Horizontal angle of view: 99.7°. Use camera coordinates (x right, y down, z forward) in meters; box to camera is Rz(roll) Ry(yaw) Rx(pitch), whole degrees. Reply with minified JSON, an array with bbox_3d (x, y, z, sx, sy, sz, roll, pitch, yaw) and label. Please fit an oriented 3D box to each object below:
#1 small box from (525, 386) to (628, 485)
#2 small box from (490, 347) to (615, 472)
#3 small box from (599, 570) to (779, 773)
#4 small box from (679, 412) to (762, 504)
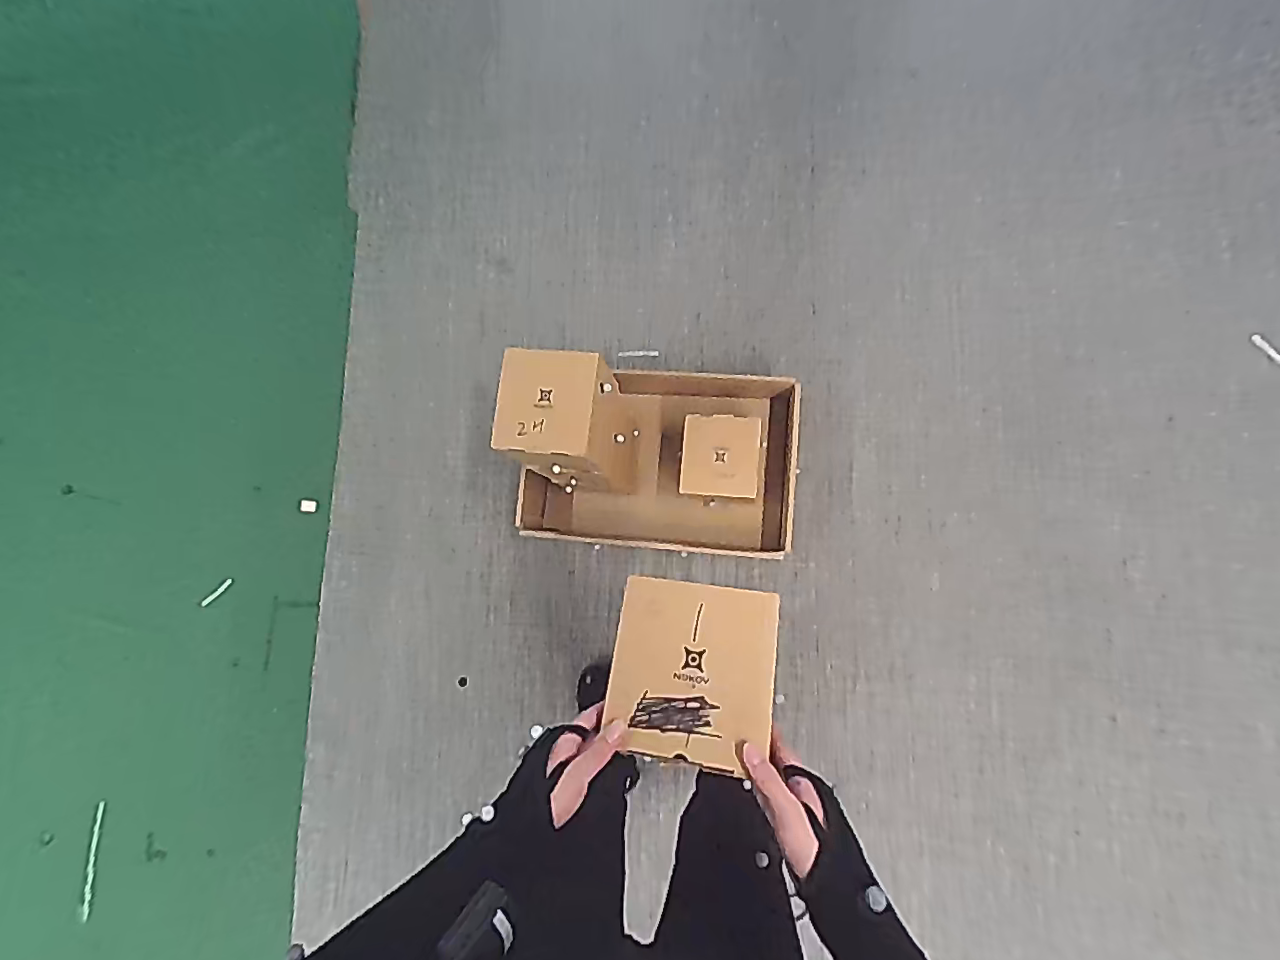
[{"bbox_3d":[-0.122,-0.093,1.123,0.168,0.176,0.179,5,83,10],"label":"small box"},{"bbox_3d":[-0.145,-0.120,0.962,0.168,0.176,0.179,5,83,10],"label":"small box"},{"bbox_3d":[0.065,0.218,0.618,0.168,0.176,0.179,5,66,12],"label":"small box"},{"bbox_3d":[0.185,-0.045,1.228,0.168,0.176,0.179,4,84,12],"label":"small box"}]
